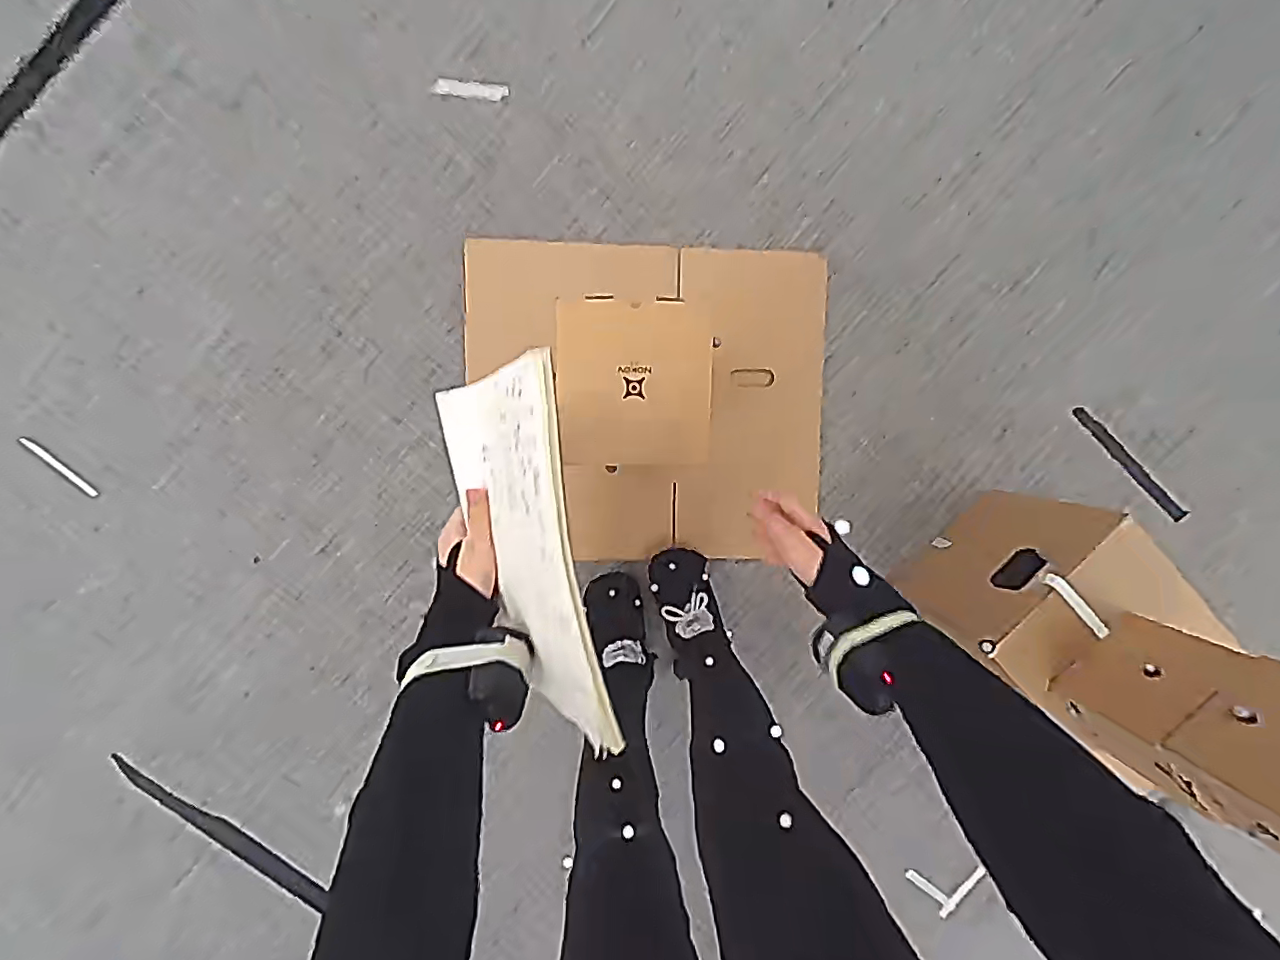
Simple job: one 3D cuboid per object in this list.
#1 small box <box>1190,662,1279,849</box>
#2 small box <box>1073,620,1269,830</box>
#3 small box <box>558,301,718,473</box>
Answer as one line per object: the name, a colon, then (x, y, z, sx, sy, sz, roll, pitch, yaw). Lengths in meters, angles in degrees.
small box: (0.798, 0.349, 0.615, 0.179, 0.176, 0.168, -45, 98, 3)
small box: (0.780, 0.337, 0.778, 0.179, 0.176, 0.168, -42, 98, 1)
small box: (-0.007, -0.104, 0.639, 0.168, 0.176, 0.179, 0, 96, -4)
